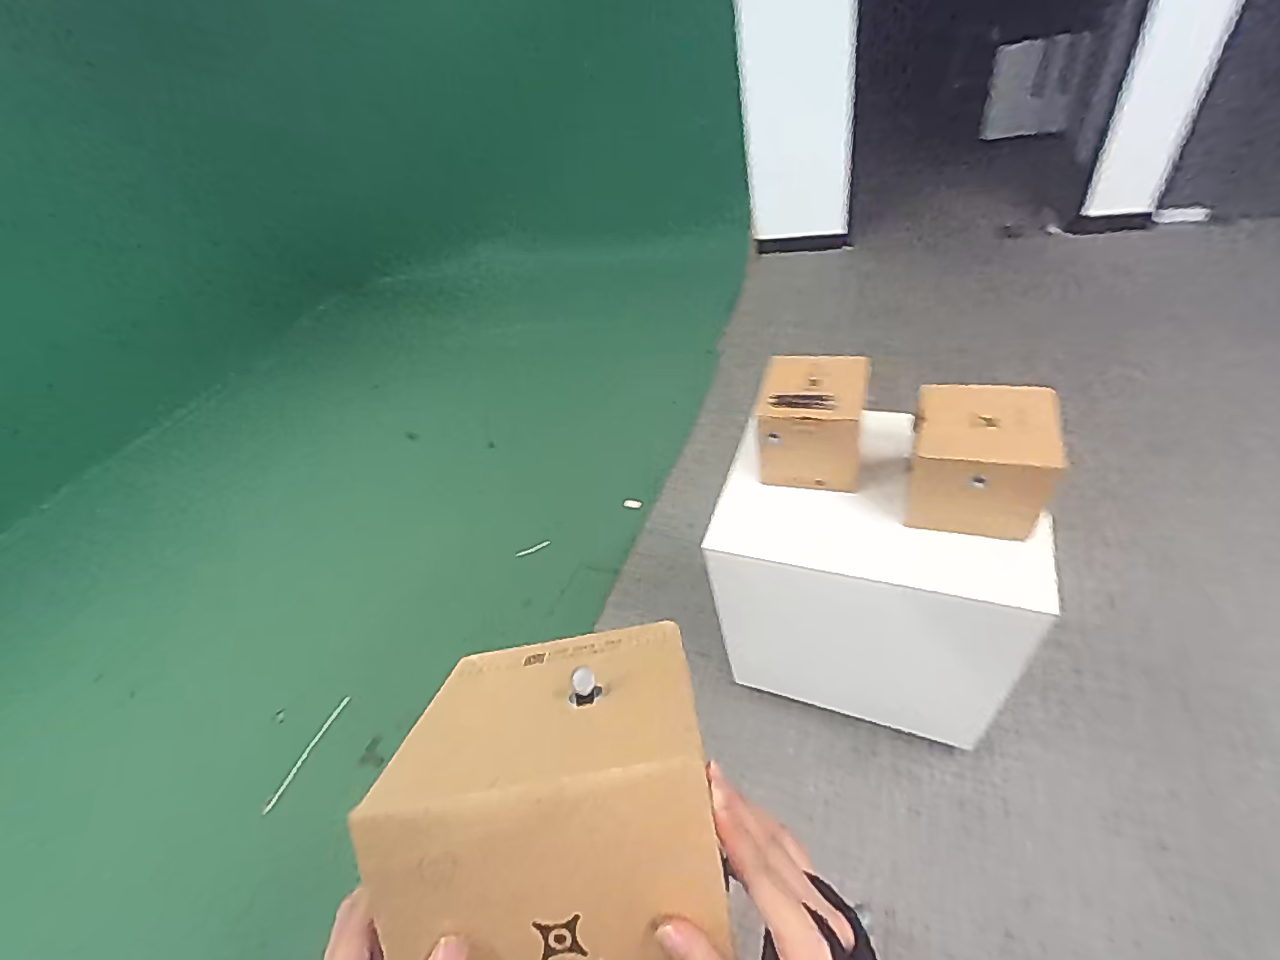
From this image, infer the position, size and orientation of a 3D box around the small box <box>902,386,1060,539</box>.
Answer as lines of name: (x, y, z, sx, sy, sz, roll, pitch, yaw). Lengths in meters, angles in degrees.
small box: (0.510, -0.027, 0.834, 0.179, 0.176, 0.168, 6, 50, 23)
